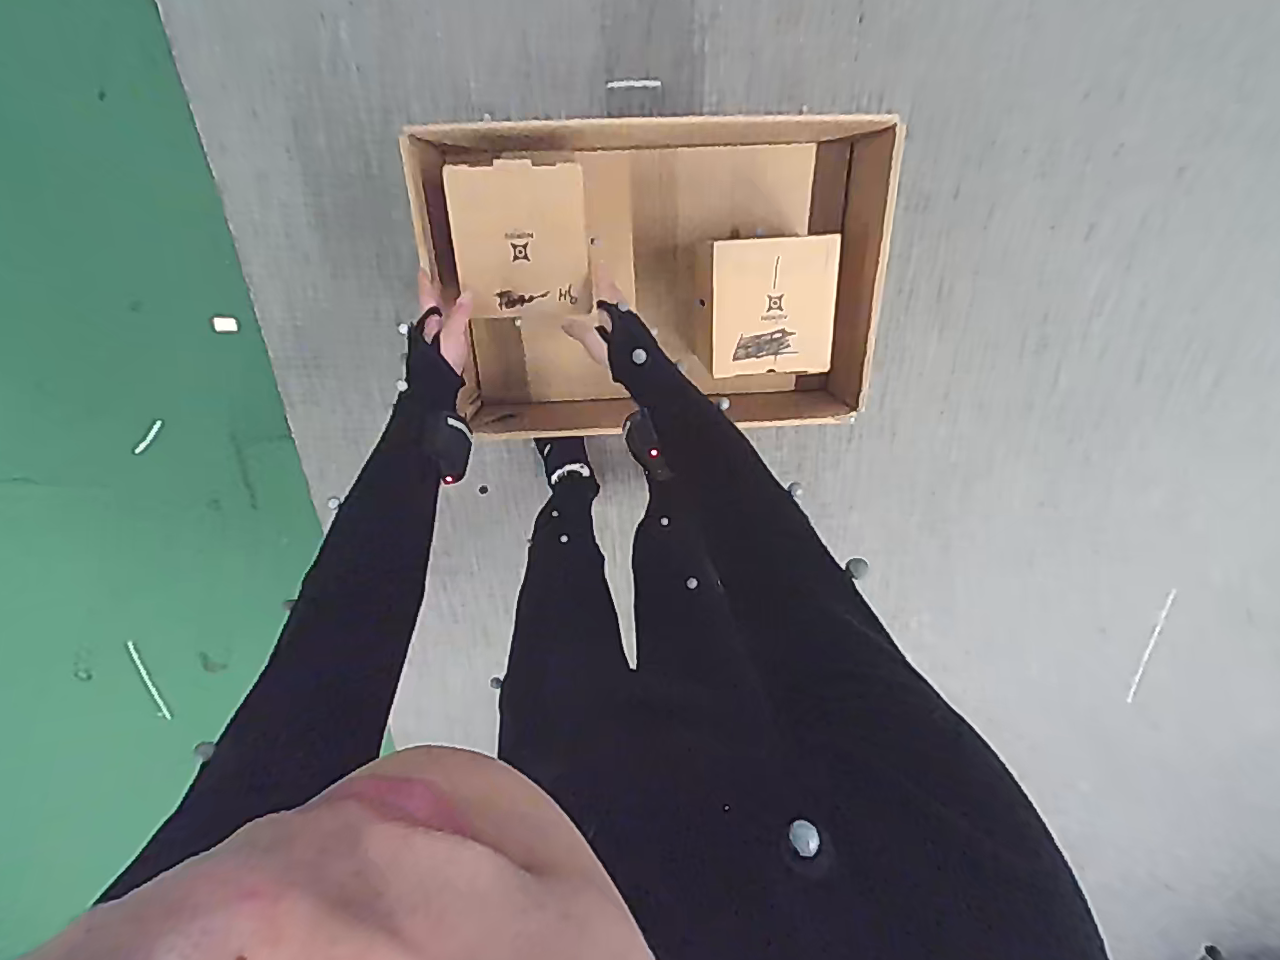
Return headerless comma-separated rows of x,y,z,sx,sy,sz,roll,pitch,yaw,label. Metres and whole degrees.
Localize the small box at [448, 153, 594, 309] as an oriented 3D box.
-0.147,-0.331,0.734,0.168,0.176,0.179,-2,115,-3,small box
